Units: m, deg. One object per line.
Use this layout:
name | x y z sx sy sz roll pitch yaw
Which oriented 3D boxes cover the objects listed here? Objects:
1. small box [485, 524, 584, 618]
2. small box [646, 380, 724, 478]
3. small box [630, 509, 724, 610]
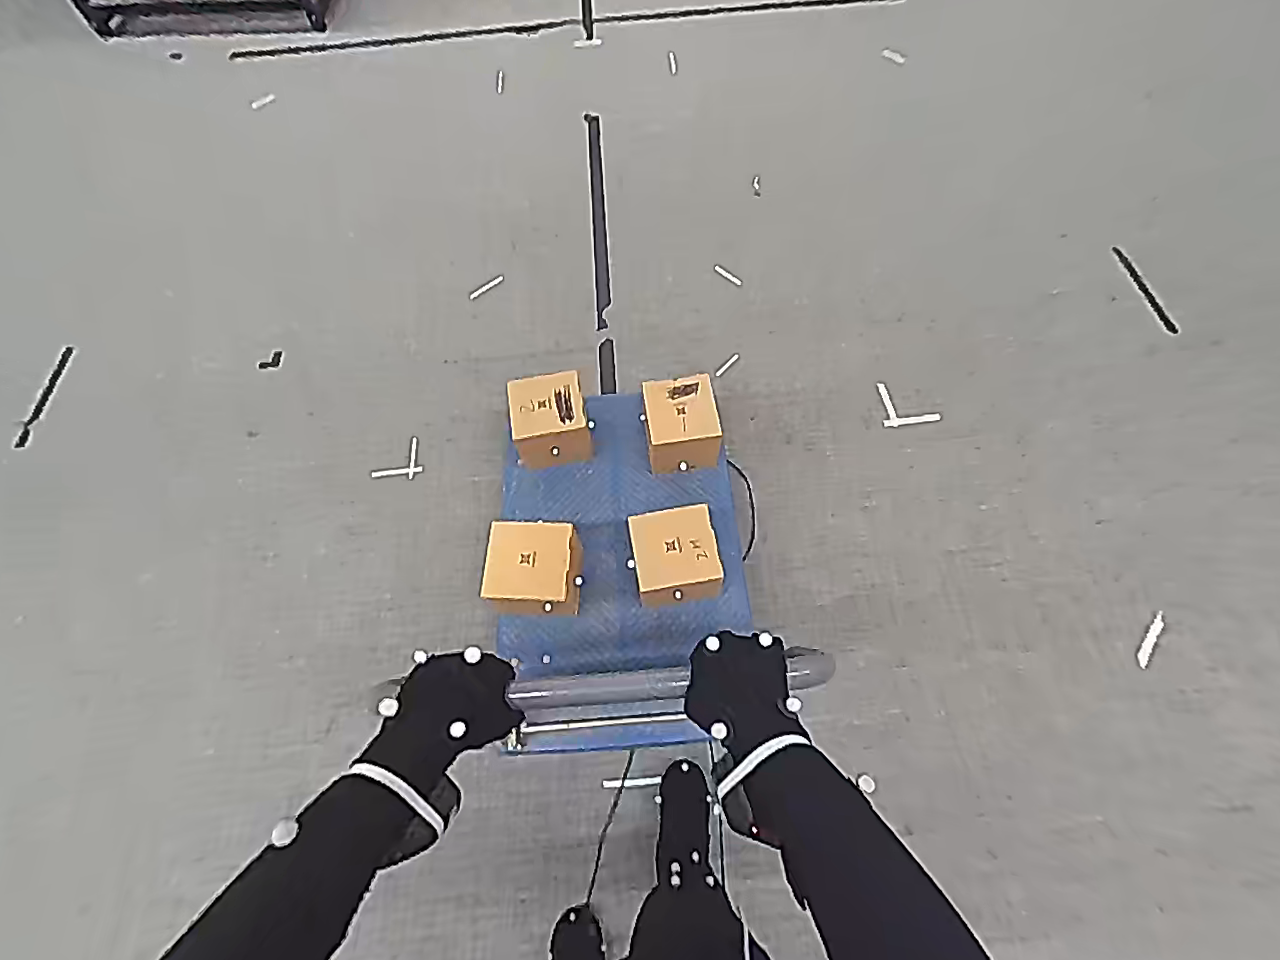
small box | -0.226 0.207 1.203 0.179 0.176 0.168 2 64 1
small box | 0.106 -0.124 1.348 0.168 0.176 0.179 -8 65 -1
small box | 0.079 0.182 1.202 0.179 0.176 0.168 -9 64 -2
